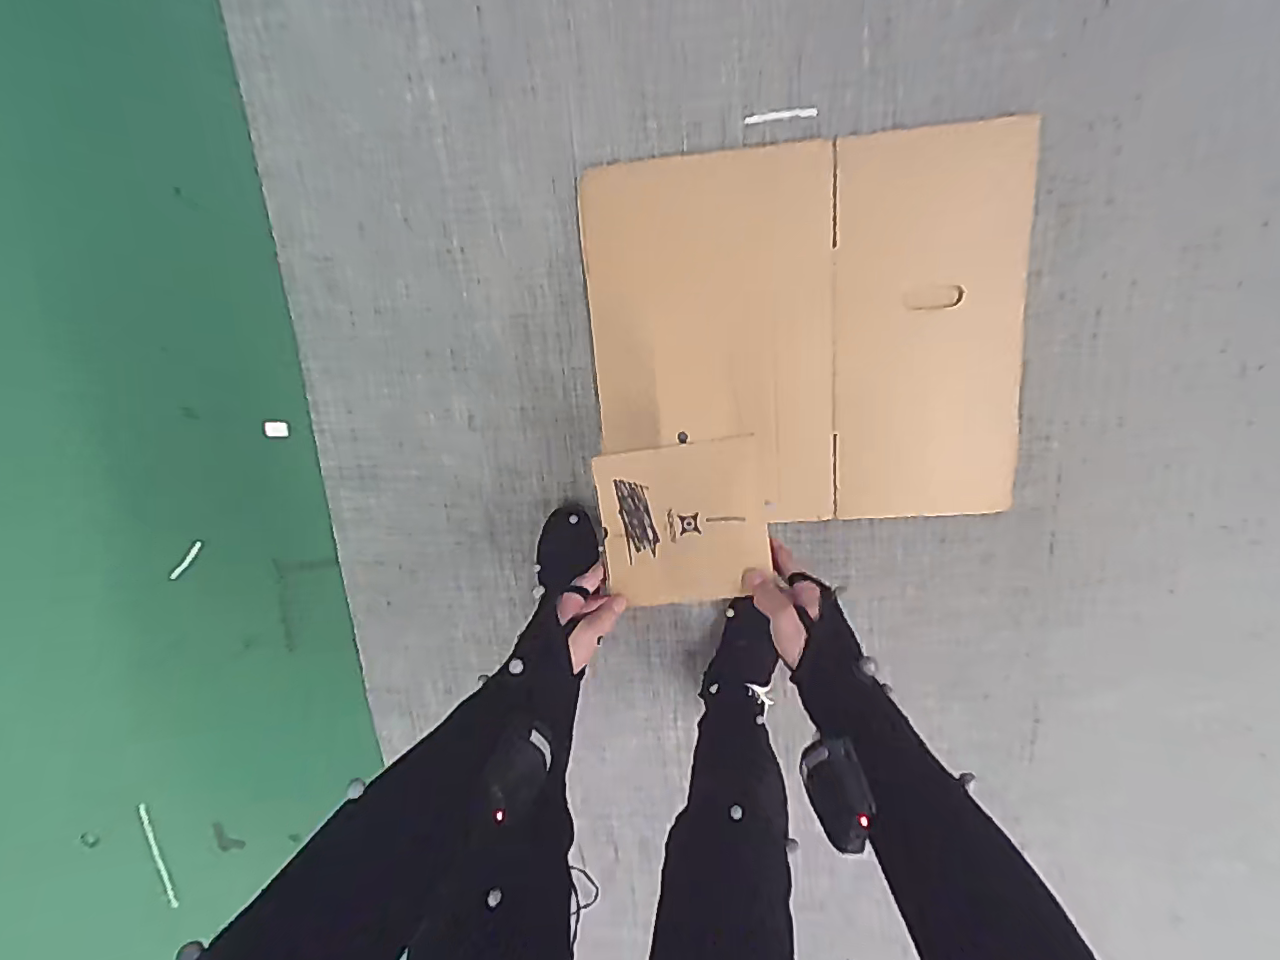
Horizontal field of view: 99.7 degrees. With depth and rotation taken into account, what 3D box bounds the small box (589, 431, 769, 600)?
[{"bbox_3d":[0.053,0.036,0.649,0.179,0.176,0.168,-8,93,9],"label":"small box"}]
